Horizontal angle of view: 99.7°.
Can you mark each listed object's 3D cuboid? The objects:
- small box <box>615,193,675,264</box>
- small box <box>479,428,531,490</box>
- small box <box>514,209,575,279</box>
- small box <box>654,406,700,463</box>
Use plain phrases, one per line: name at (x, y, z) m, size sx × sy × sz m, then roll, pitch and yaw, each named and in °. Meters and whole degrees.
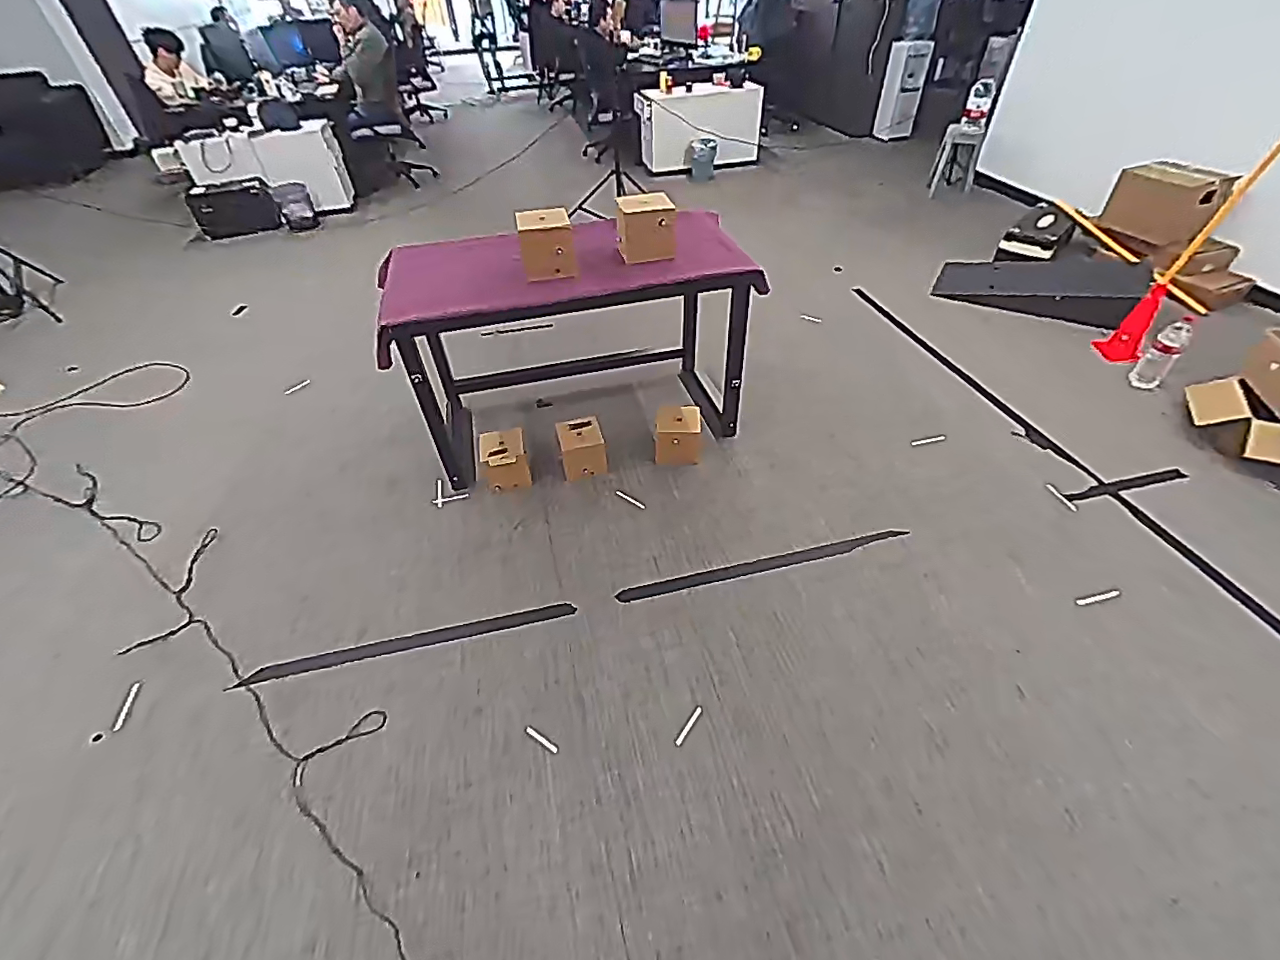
small box at (0.016, -0.862, 1.854) m, size 0.179 × 0.176 × 0.168 m, roll -11°, pitch 44°, yaw -7°
small box at (-0.530, -0.077, 2.125) m, size 0.168 × 0.176 × 0.179 m, roll -11°, pitch 44°, yaw -8°
small box at (-0.314, -0.774, 1.783) m, size 0.168 × 0.176 × 0.179 m, roll -10°, pitch 43°, yaw -9°
small box at (0.150, -0.182, 2.200) m, size 0.179 × 0.176 × 0.168 m, roll 0°, pitch 45°, yaw 4°
